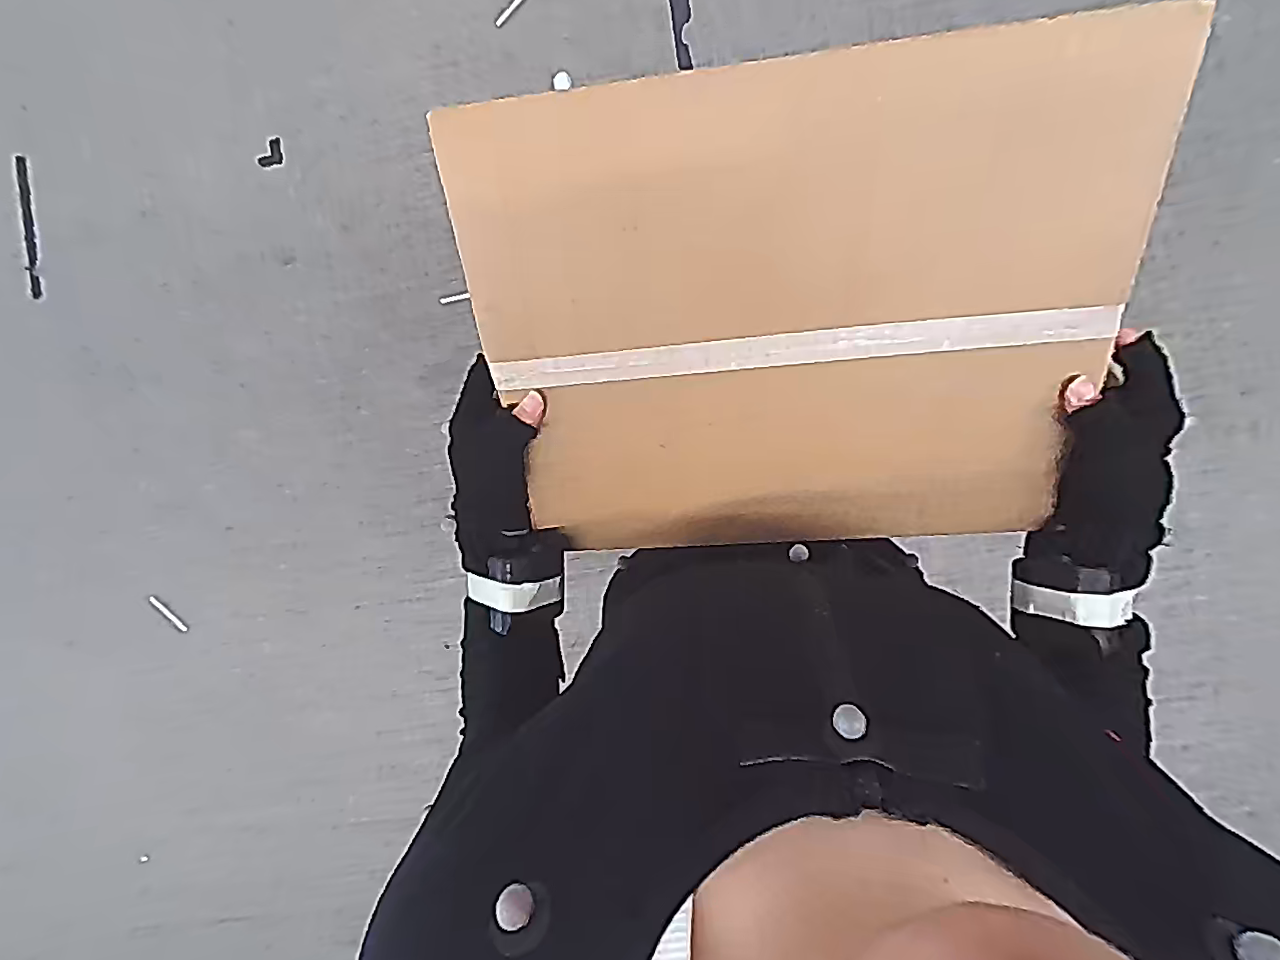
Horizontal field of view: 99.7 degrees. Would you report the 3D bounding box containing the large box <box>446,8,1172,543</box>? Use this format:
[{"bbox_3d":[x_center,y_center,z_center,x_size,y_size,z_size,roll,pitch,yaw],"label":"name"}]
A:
[{"bbox_3d":[0.105,-0.165,0.500,0.408,0.320,0.320,-4,120,7],"label":"large box"}]
